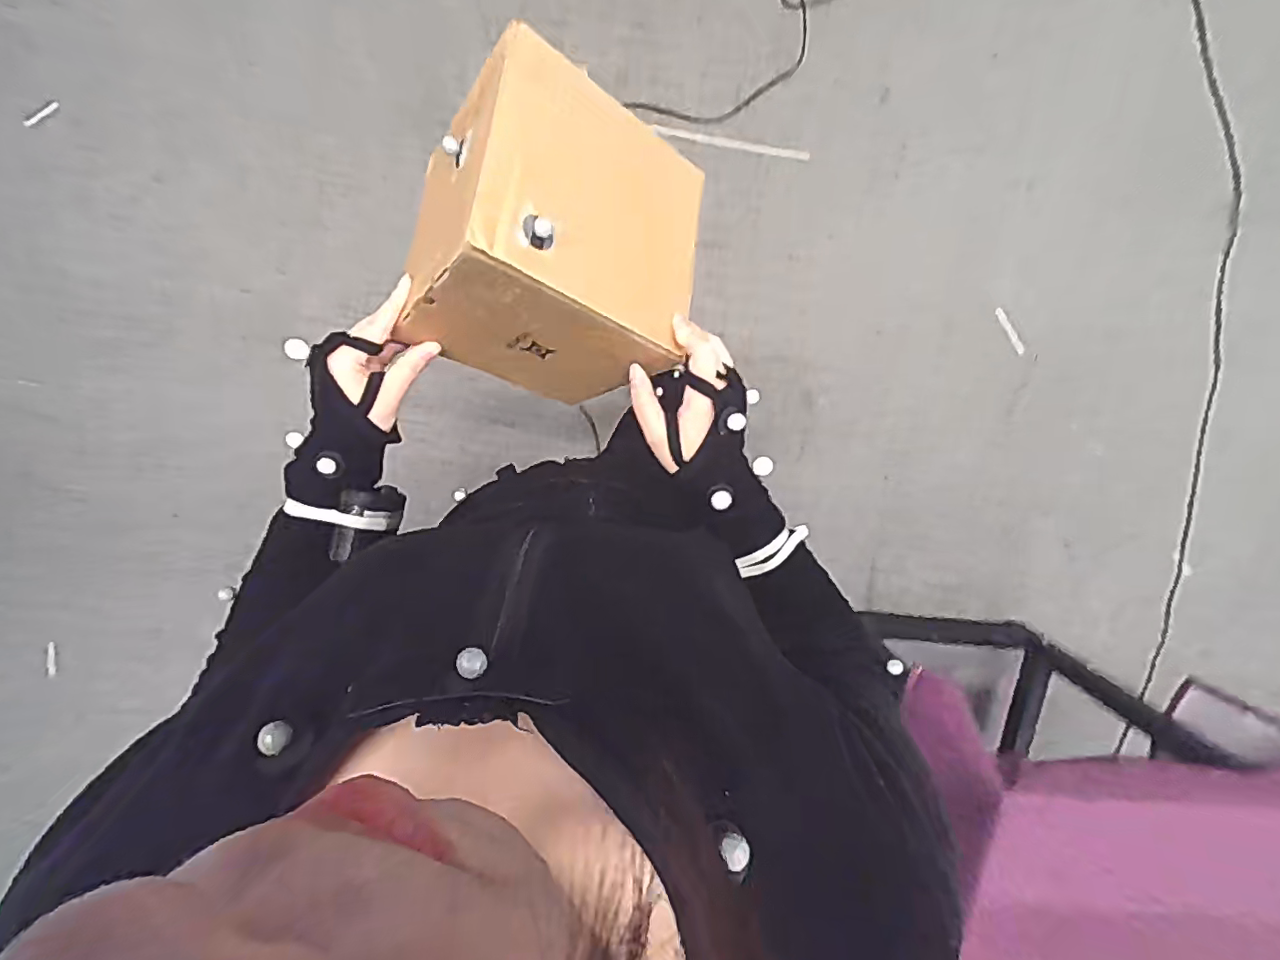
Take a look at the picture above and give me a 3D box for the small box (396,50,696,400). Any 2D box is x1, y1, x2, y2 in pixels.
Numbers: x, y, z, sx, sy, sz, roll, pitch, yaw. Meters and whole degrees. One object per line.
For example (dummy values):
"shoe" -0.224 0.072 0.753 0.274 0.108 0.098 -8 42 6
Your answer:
"small box" -0.072 -0.188 0.448 0.179 0.168 0.176 19 72 -35
